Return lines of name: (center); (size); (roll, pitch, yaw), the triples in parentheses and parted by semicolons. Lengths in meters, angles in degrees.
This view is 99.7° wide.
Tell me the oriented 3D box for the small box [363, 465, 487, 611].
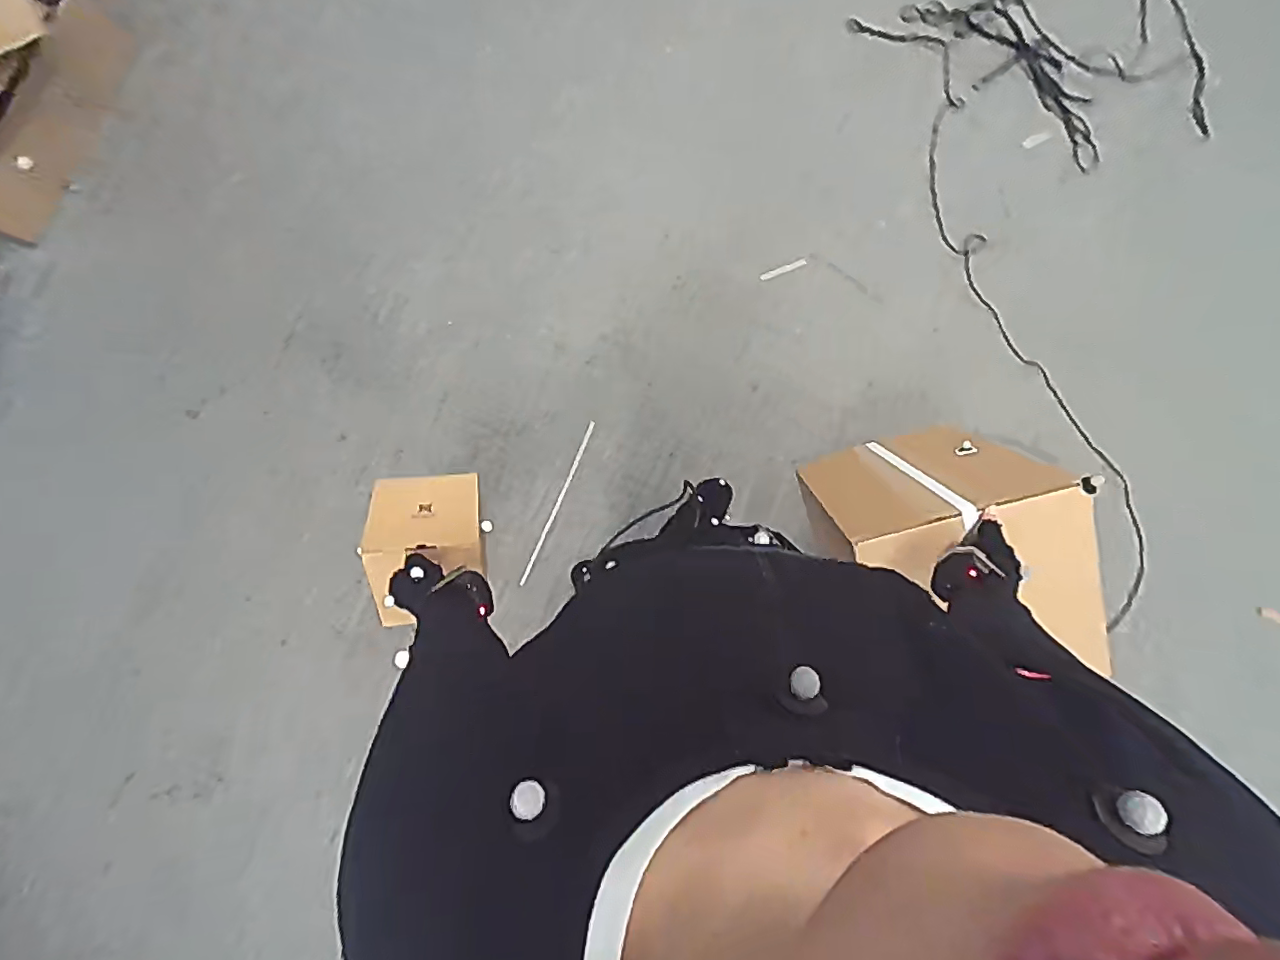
small box: (-0.349, 0.094, 0.909); (0.168, 0.179, 0.176); (-4, 129, -14)
